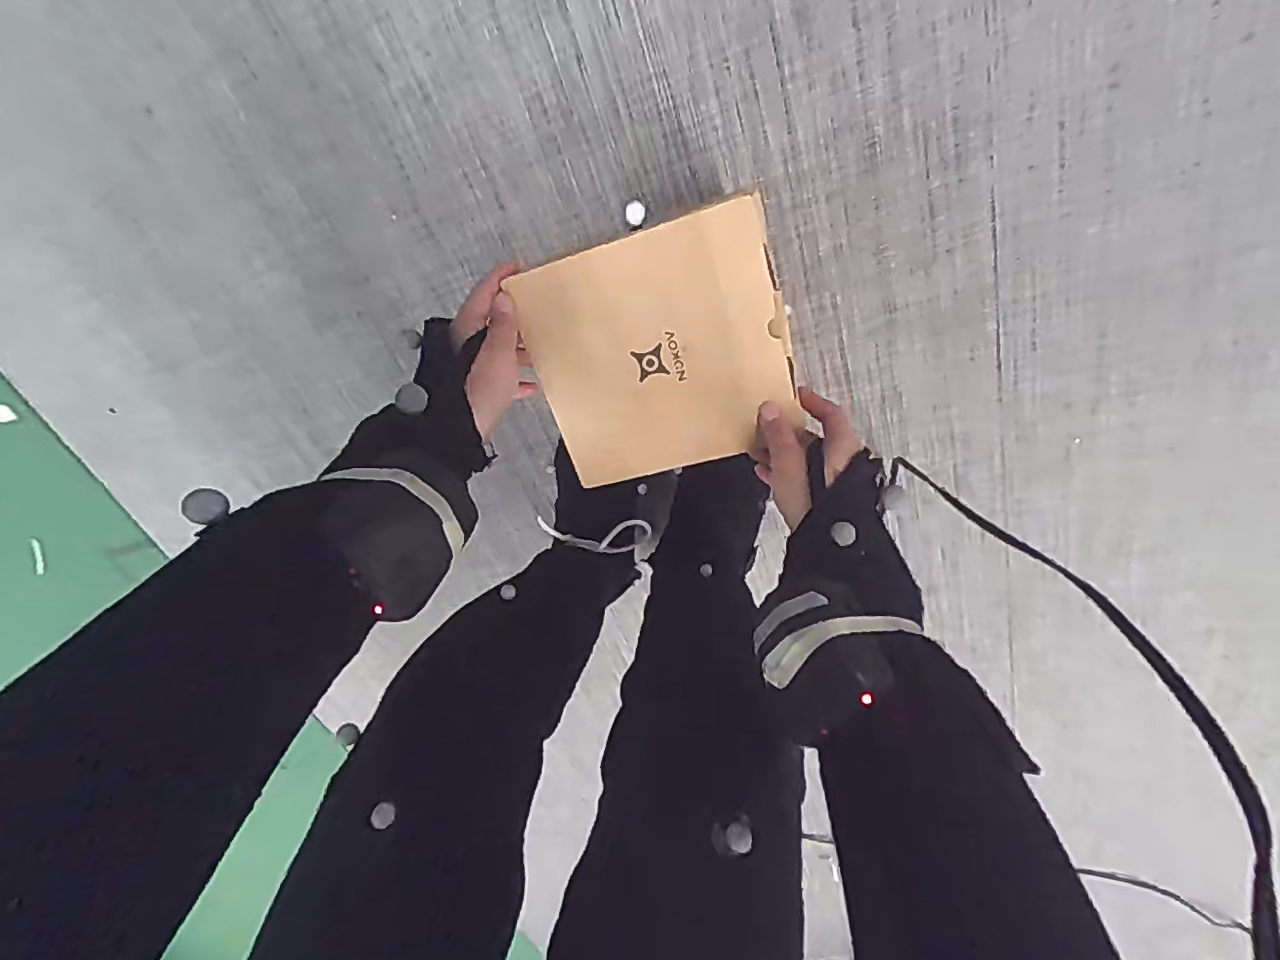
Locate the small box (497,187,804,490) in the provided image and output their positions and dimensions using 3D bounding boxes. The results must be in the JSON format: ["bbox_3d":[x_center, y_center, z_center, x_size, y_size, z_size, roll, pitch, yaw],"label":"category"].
[{"bbox_3d":[0.021,-0.115,0.433,0.179,0.176,0.168,-13,114,14],"label":"small box"}]
